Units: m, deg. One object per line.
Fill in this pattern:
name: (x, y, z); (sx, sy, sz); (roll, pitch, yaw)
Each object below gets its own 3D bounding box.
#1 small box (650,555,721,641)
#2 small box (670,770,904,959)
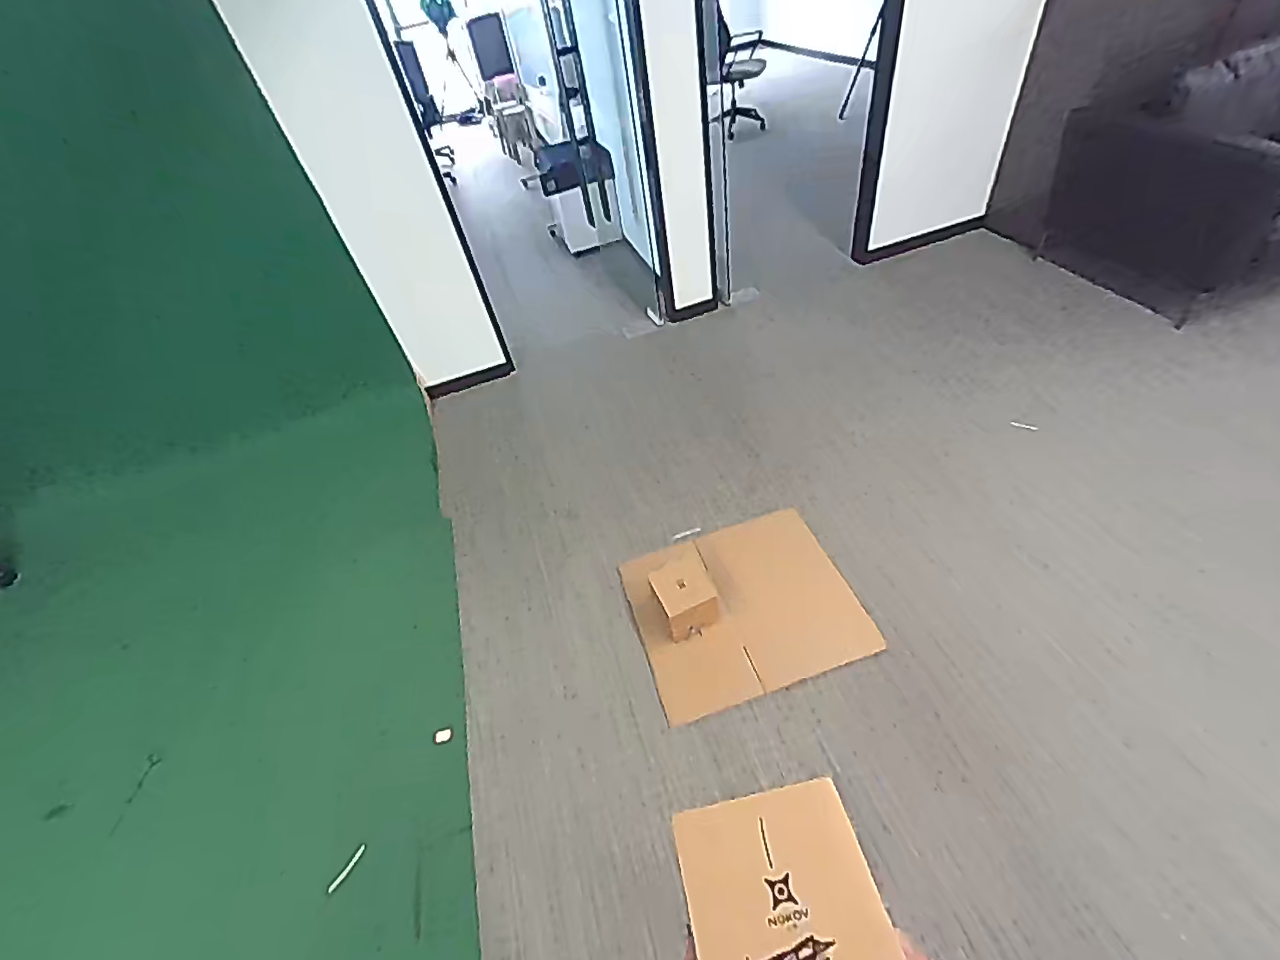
small box: (0.146, 0.379, 1.730); (0.168, 0.176, 0.179); (-22, 47, -9)
small box: (0.133, 0.415, 0.519); (0.168, 0.176, 0.179); (-13, 42, -1)
